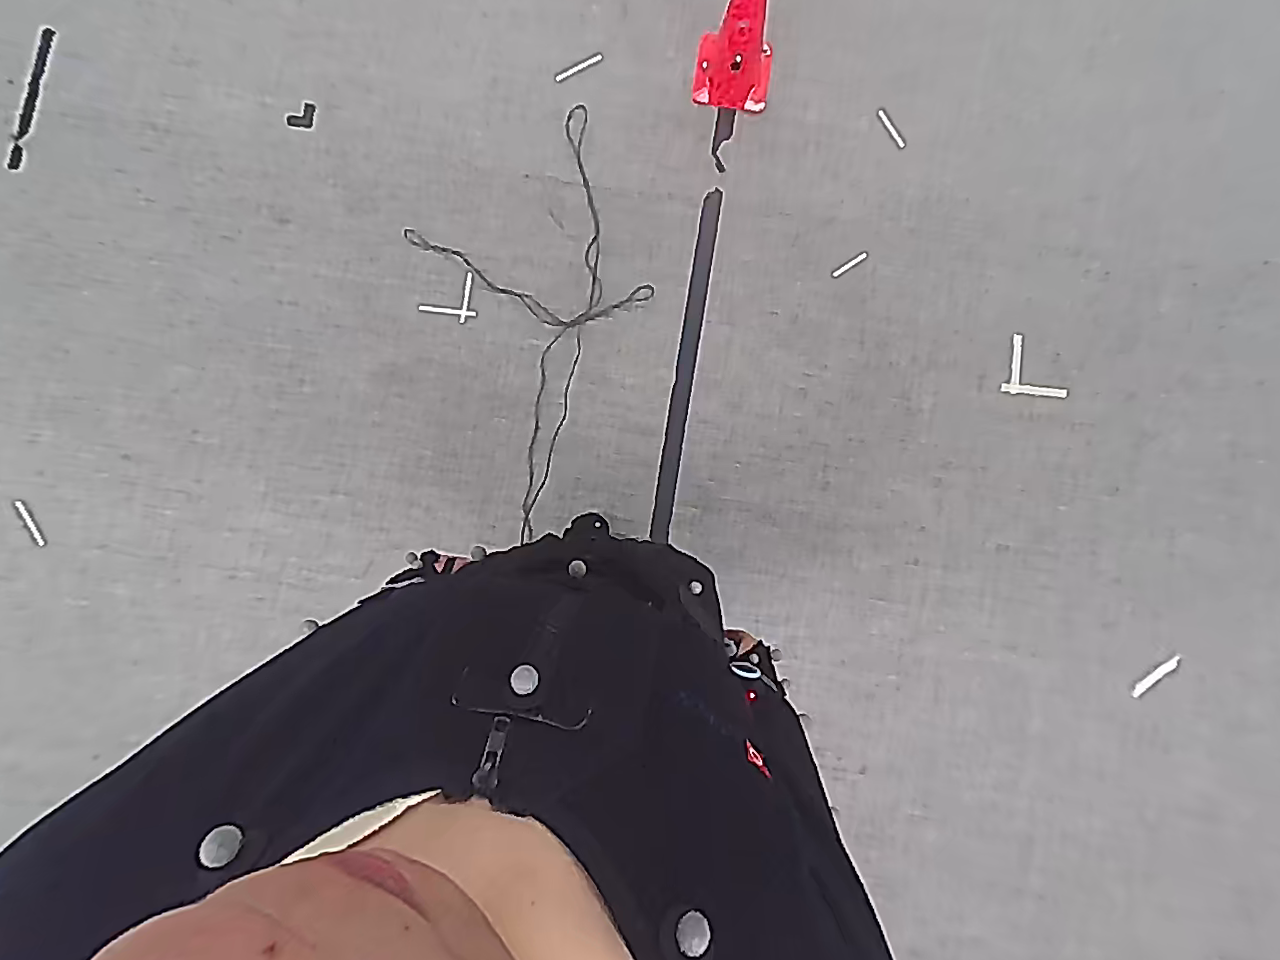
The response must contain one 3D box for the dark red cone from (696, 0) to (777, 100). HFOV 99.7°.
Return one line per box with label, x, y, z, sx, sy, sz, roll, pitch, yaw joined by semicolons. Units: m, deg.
dark red cone;0.251;-1.113;1.257;0.201;0.394;0.202;8;87;1
